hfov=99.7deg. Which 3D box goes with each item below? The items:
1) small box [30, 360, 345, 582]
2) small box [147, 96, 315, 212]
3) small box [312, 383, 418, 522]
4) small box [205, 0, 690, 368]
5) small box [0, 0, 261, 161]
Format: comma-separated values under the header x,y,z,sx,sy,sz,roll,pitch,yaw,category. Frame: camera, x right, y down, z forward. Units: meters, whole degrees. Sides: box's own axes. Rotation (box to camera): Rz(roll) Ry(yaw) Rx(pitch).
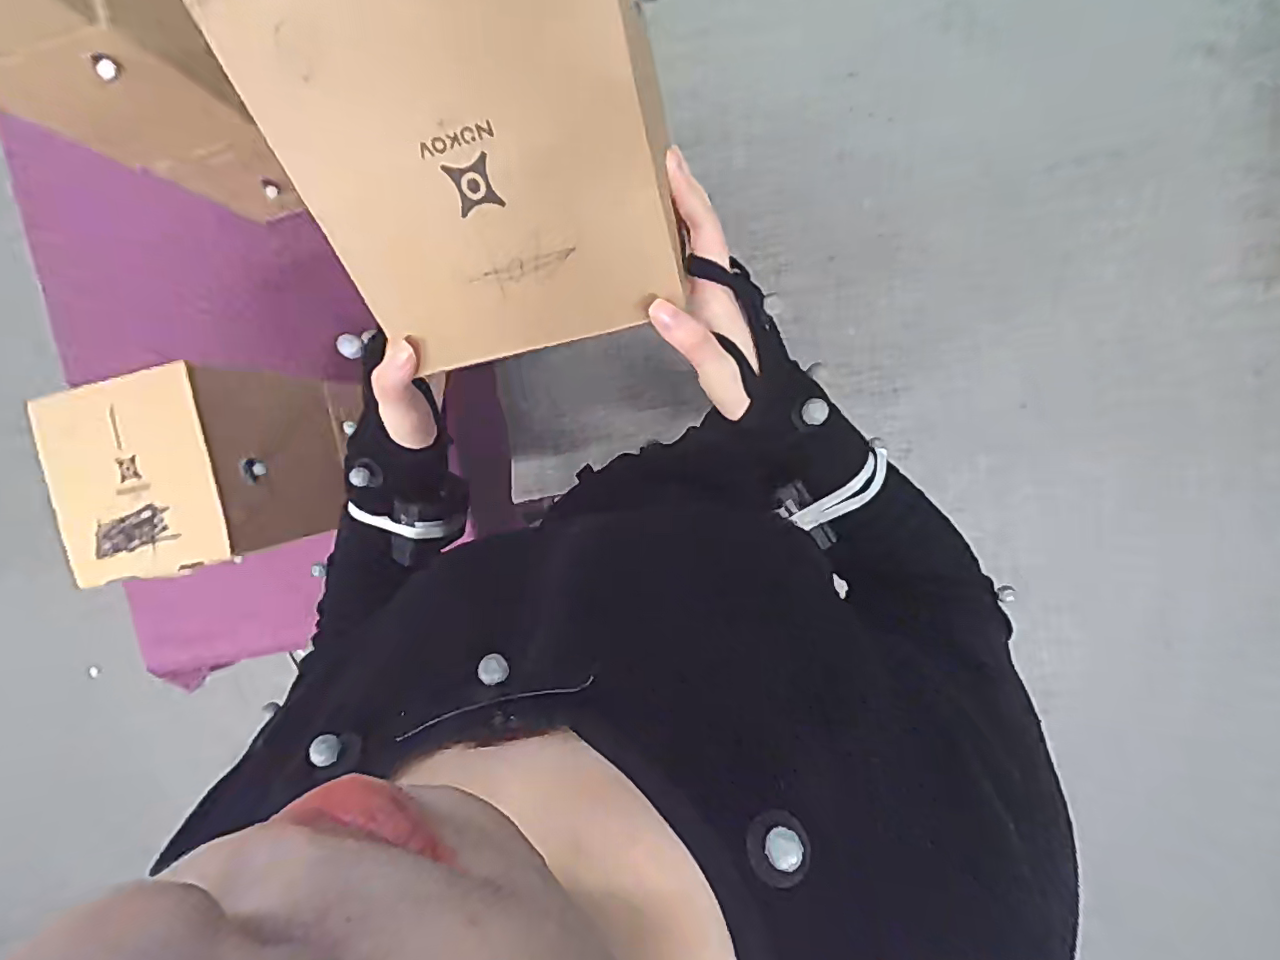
x,y,z,sx,sy,sz,roll,pitch,yaw,category
-0.439,-0.012,0.556,0.168,0.176,0.179,-11,93,8,small box
-0.498,-0.467,0.688,0.168,0.176,0.179,-12,94,8,small box
-0.419,-0.027,0.718,0.179,0.176,0.168,-11,93,8,small box
-0.068,-0.192,0.306,0.168,0.176,0.179,-8,130,12,small box
-0.525,-0.447,0.528,0.179,0.176,0.168,-10,94,7,small box
